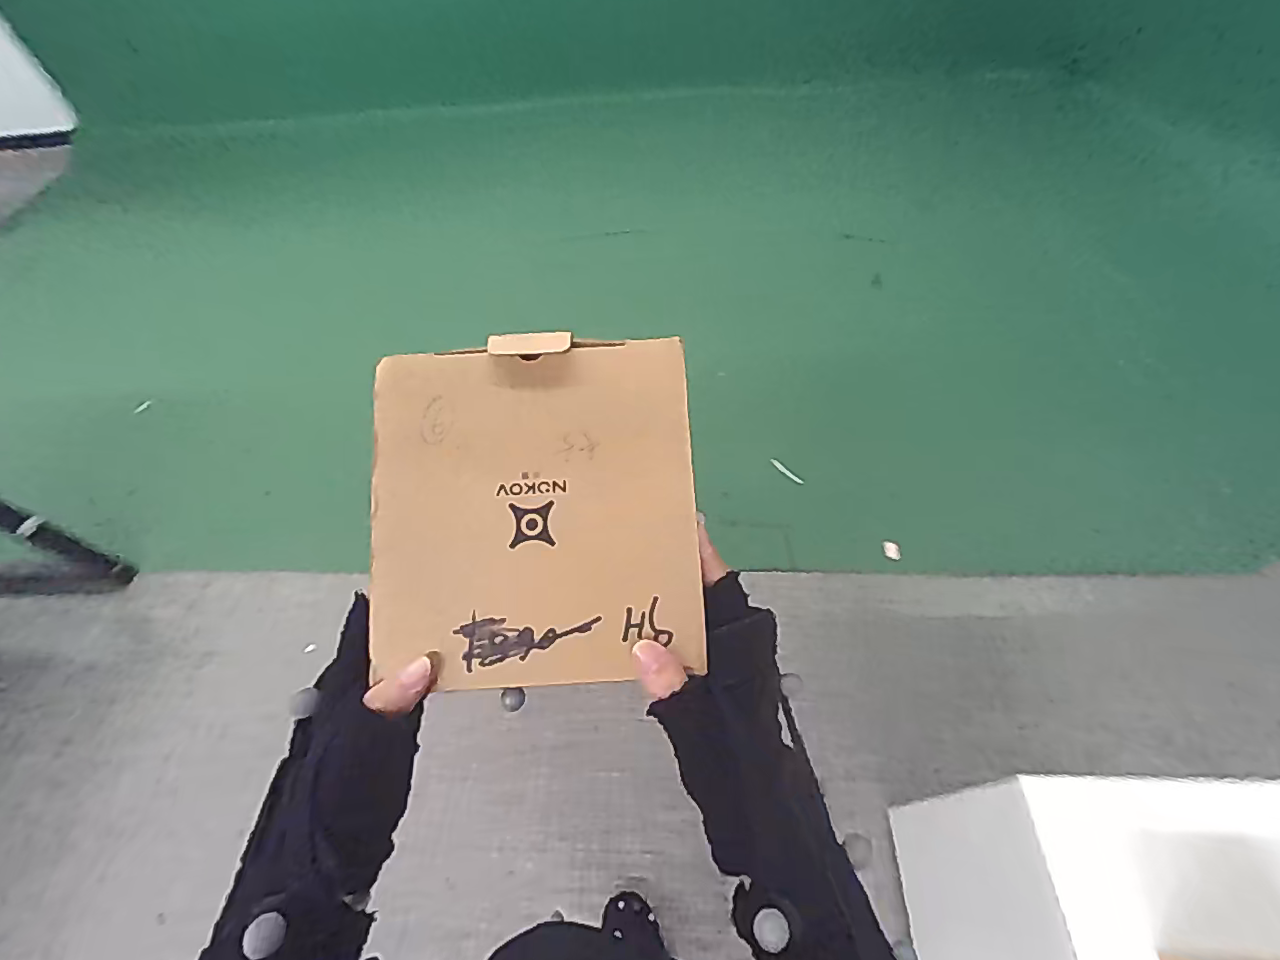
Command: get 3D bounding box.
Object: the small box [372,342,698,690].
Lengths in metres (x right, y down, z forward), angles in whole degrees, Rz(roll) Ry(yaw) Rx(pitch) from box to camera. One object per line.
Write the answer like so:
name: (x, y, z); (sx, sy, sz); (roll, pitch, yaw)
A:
small box: (-0.061, 0.029, 0.367); (0.168, 0.176, 0.179); (-7, 80, -1)
